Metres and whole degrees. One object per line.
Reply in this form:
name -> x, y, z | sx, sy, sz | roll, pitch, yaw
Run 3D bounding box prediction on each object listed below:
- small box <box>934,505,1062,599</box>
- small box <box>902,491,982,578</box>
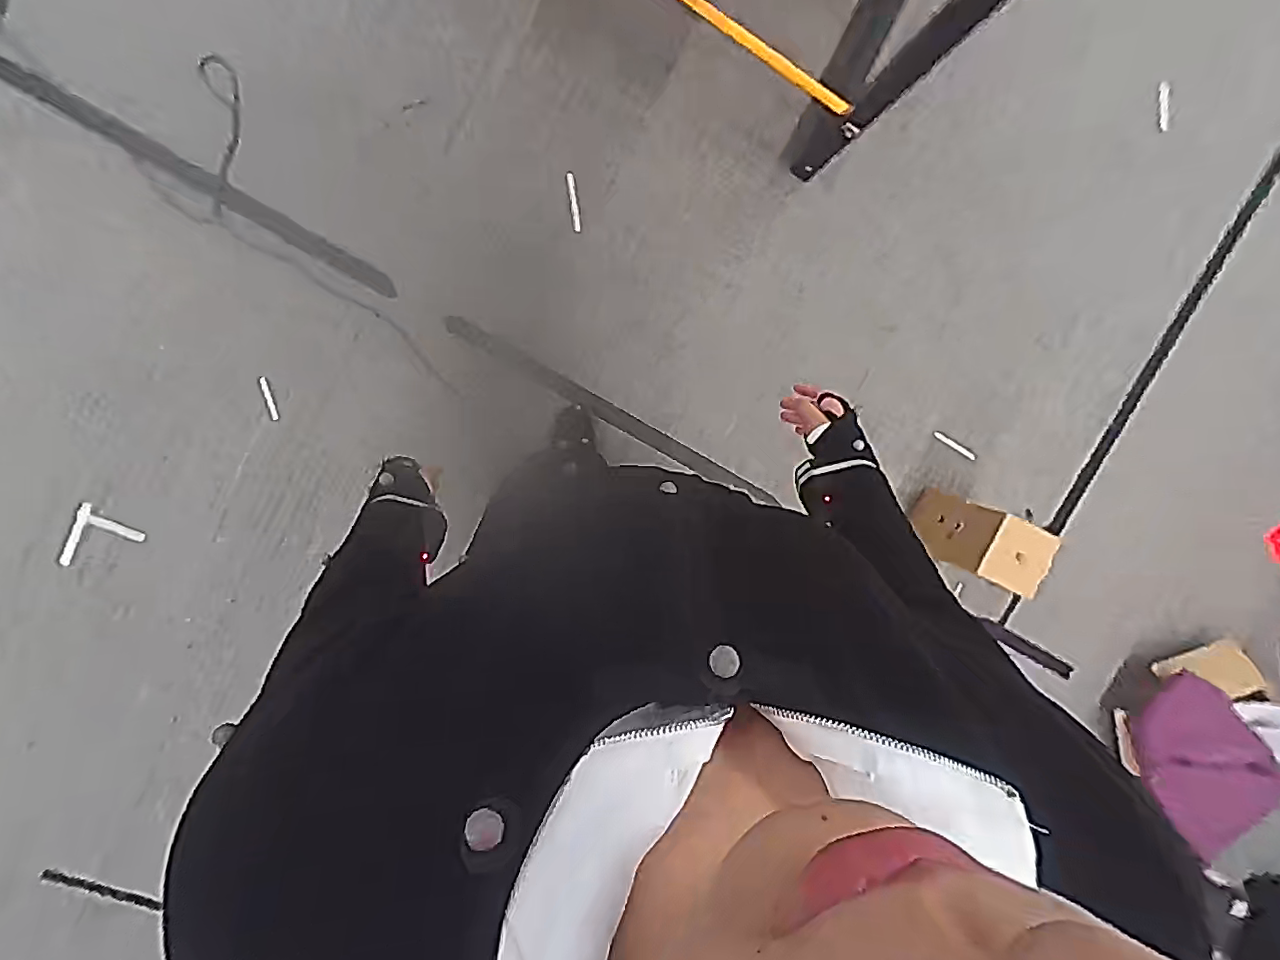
small box -> 0.907, 0.176, 1.385 | 0.179, 0.176, 0.168 | 24, 94, -9
small box -> 0.892, 0.148, 1.544 | 0.168, 0.176, 0.179 | 26, 96, -10
